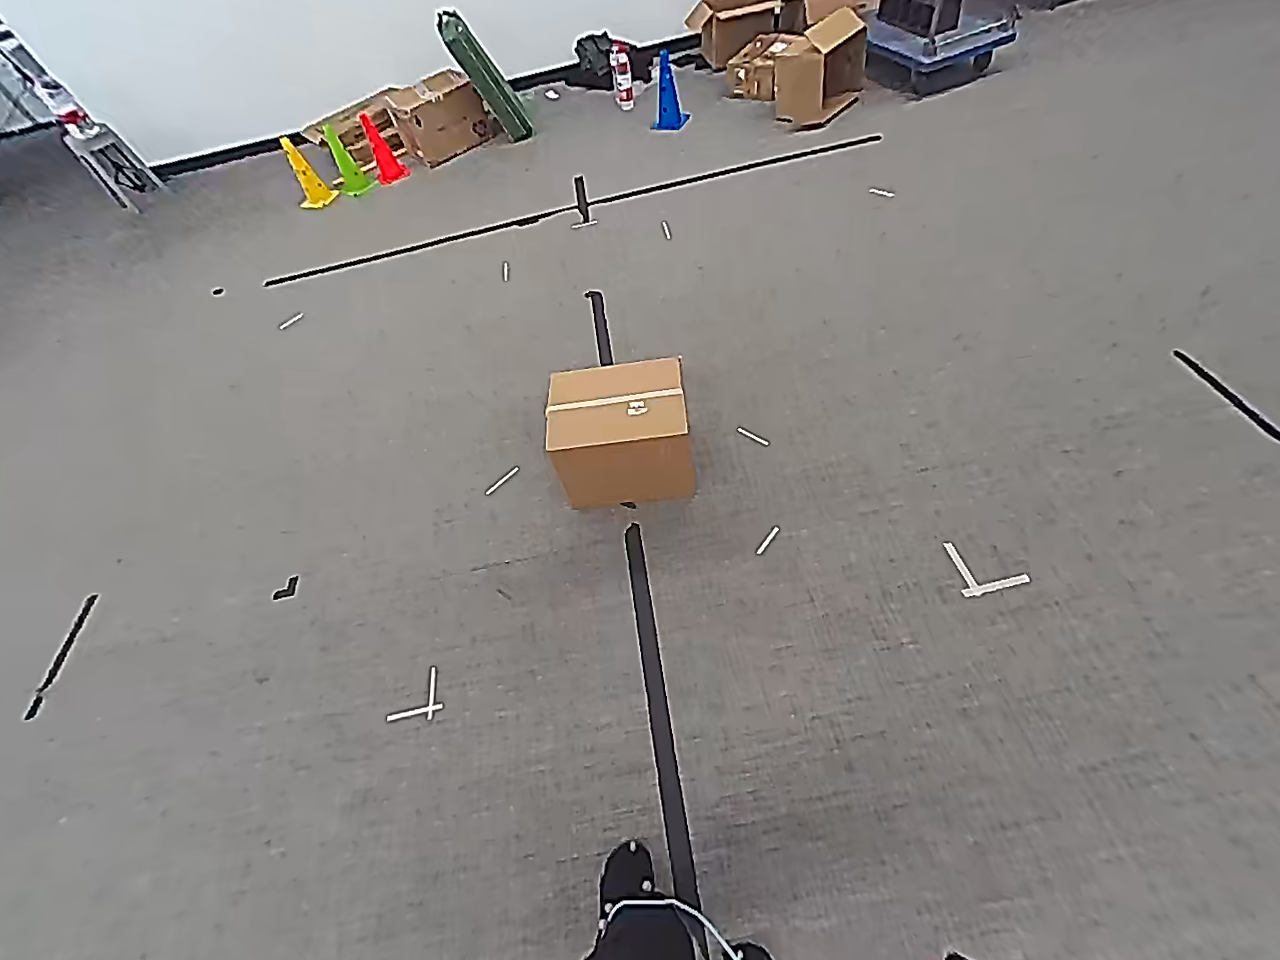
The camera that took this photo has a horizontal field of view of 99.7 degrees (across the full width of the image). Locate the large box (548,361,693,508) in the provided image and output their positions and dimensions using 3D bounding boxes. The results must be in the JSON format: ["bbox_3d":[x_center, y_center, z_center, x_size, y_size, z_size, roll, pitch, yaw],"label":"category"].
[{"bbox_3d":[-0.051,-0.135,1.698,0.408,0.320,0.320,-6,55,5],"label":"large box"}]
